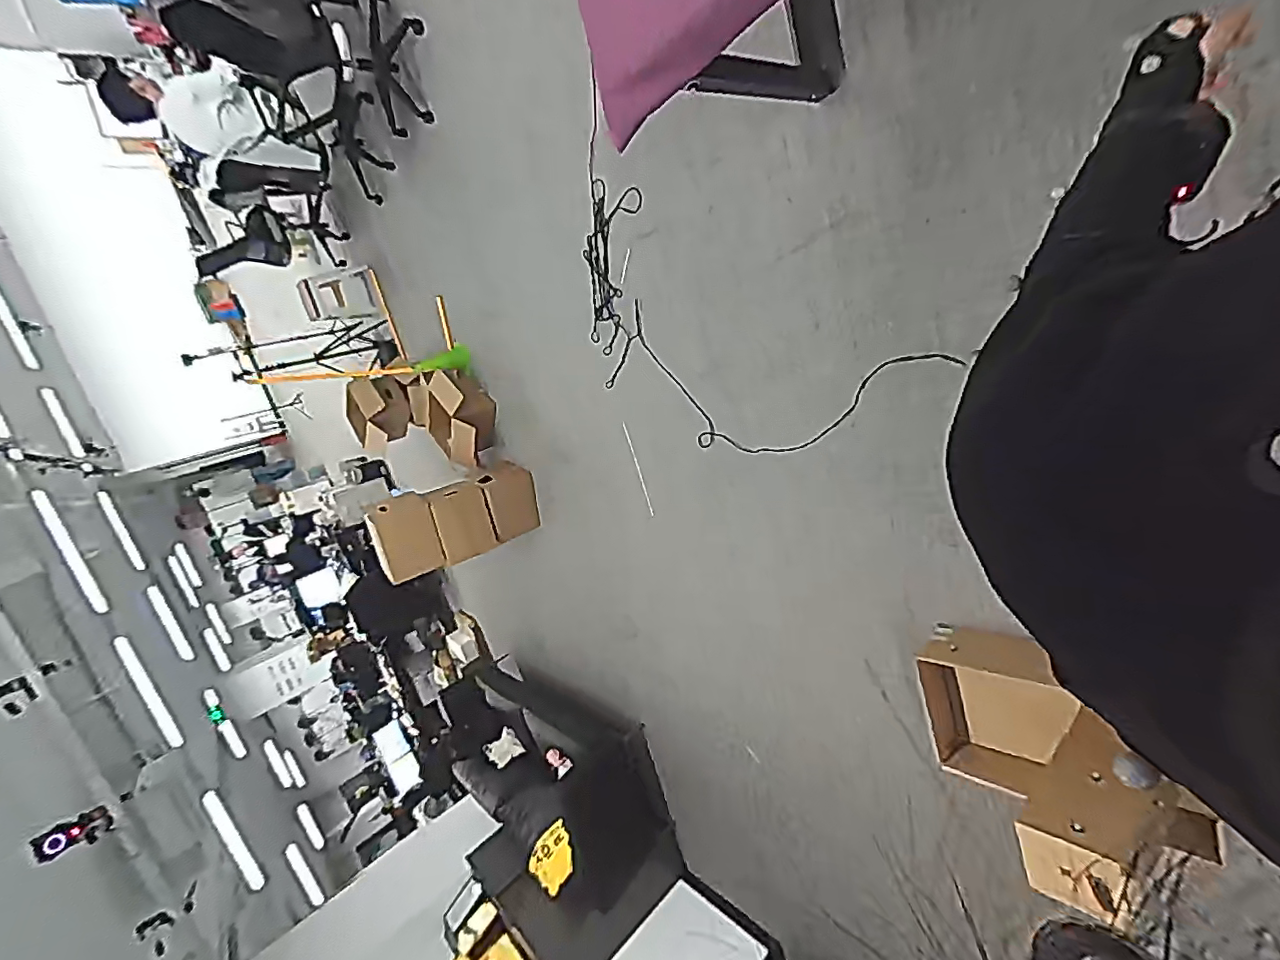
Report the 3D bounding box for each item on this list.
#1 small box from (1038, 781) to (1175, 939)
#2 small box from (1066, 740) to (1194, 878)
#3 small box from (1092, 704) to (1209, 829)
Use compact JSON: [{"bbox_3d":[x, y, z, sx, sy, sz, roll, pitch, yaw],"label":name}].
[{"bbox_3d":[0.962,0.763,1.112,0.179,0.176,0.168,-6,103,56],"label":"small box"},{"bbox_3d":[1.091,0.713,1.200,0.179,0.176,0.168,-6,104,55],"label":"small box"},{"bbox_3d":[1.219,0.670,1.292,0.168,0.176,0.179,-8,104,56],"label":"small box"}]
